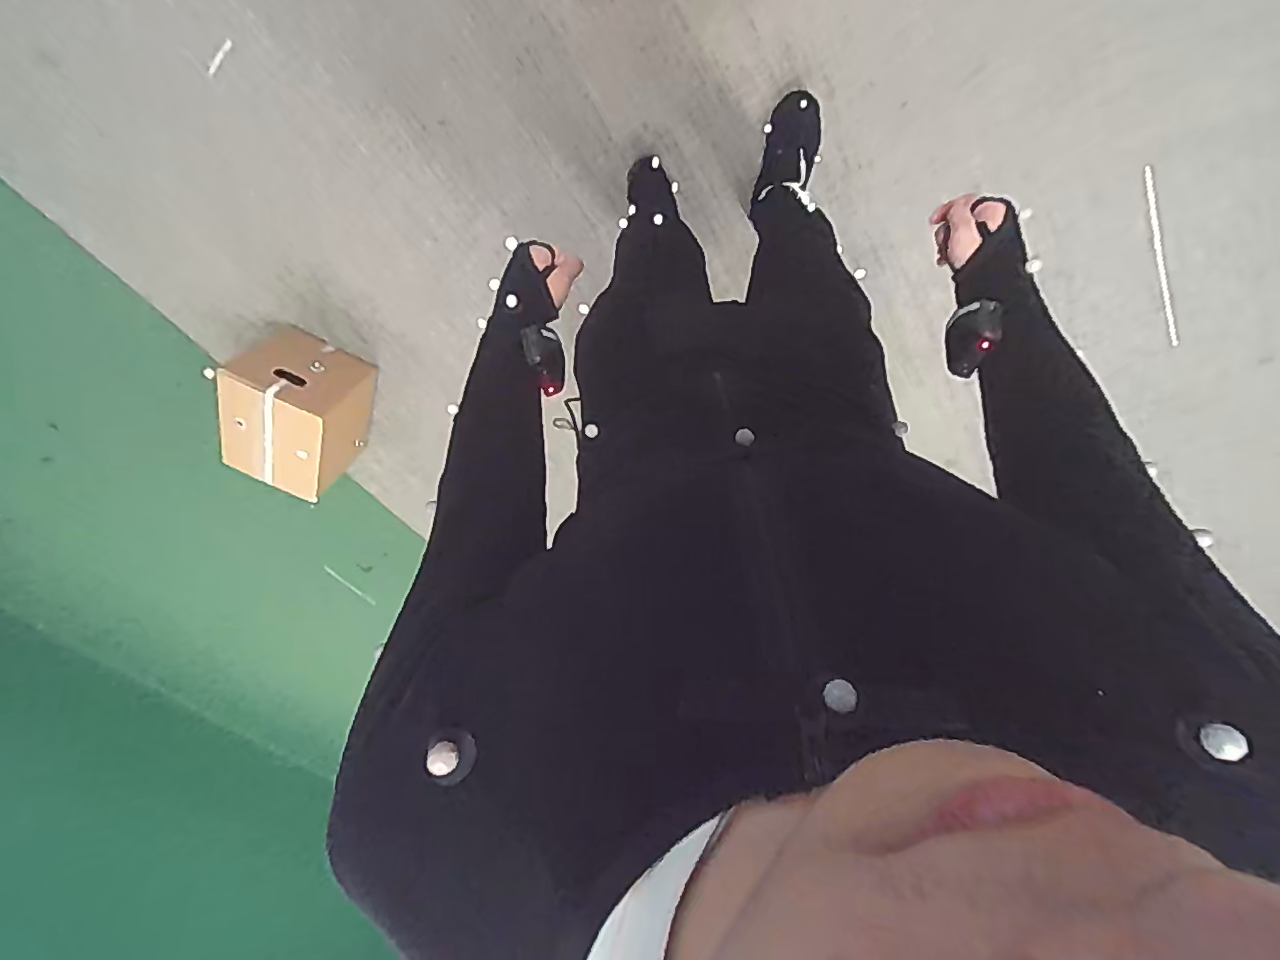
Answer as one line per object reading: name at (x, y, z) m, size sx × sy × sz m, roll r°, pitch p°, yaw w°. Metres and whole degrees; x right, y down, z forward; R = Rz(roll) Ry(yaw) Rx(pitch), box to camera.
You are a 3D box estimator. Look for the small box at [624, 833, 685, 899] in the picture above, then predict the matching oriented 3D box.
small box at (0.062, 1.516, 2.123) m, size 0.179 × 0.176 × 0.168 m, roll -24°, pitch 121°, yaw 27°
